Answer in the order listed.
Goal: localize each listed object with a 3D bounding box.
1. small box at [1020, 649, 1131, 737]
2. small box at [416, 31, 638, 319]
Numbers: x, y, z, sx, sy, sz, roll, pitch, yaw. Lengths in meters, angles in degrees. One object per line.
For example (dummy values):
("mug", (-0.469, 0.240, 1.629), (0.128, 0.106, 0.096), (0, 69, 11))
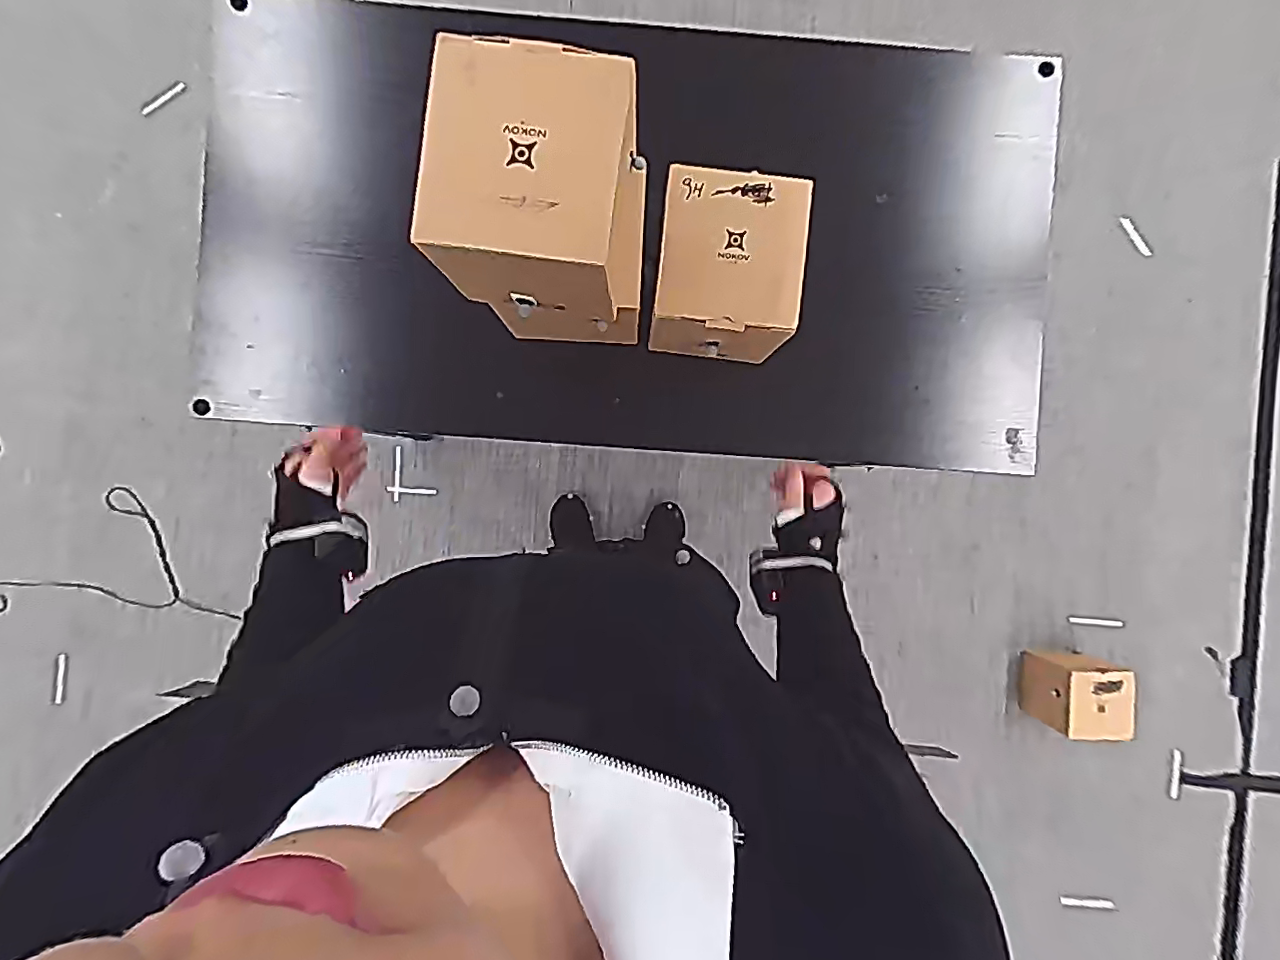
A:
("small box", (1.155, 0.562, 1.446), (0.168, 0.176, 0.179), (2, 91, -1))
("small box", (-0.094, -0.275, 0.526), (0.168, 0.176, 0.179), (7, 91, 0))
